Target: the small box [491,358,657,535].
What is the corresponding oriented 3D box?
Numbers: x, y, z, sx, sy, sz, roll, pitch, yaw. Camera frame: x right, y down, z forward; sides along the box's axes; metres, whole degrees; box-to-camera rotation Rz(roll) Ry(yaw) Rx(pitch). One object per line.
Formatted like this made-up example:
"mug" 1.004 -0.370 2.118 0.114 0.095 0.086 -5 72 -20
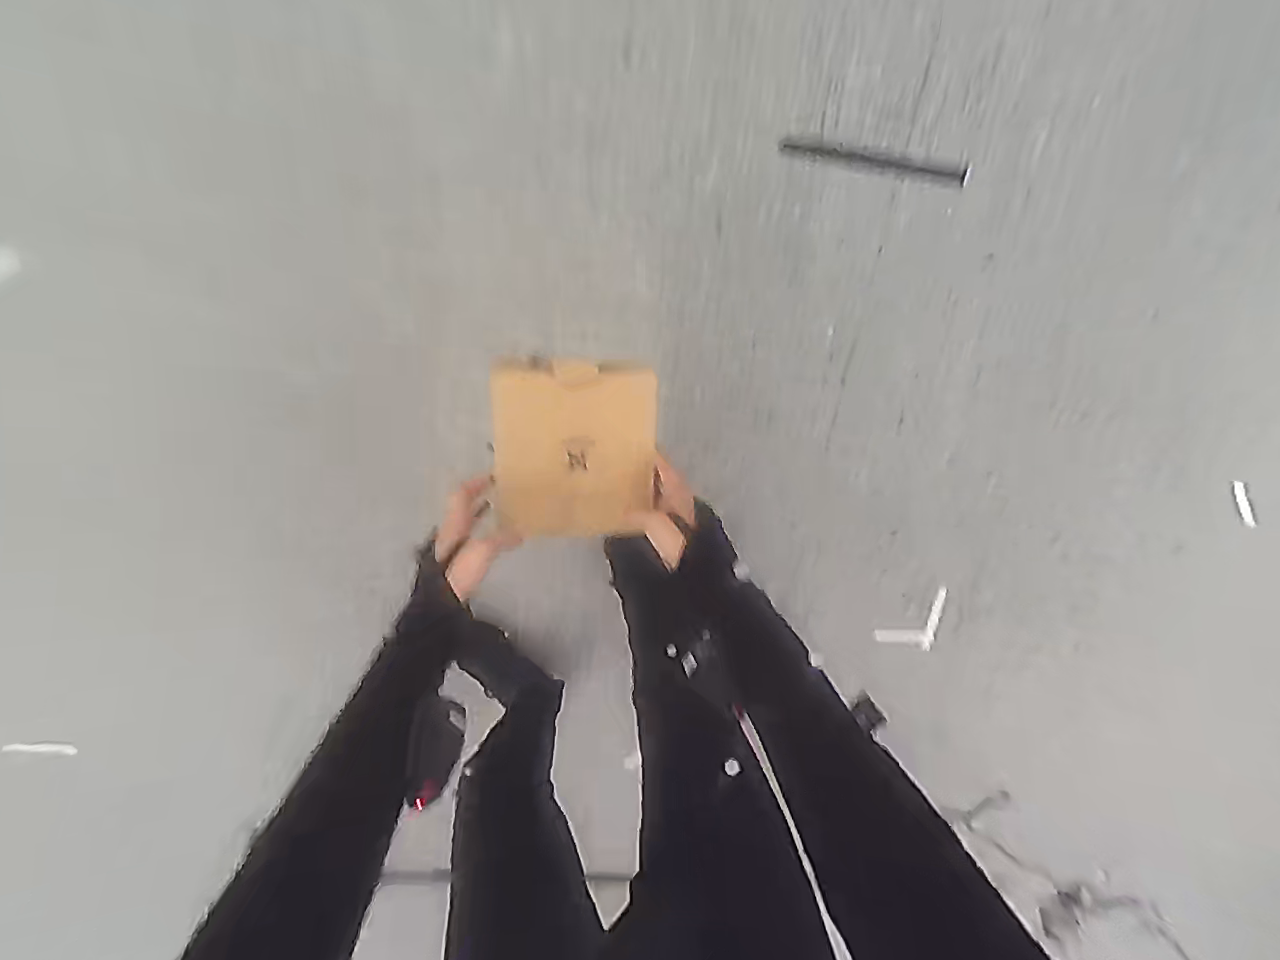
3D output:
"small box" -0.083 -0.048 0.617 0.168 0.176 0.179 -2 104 -13
